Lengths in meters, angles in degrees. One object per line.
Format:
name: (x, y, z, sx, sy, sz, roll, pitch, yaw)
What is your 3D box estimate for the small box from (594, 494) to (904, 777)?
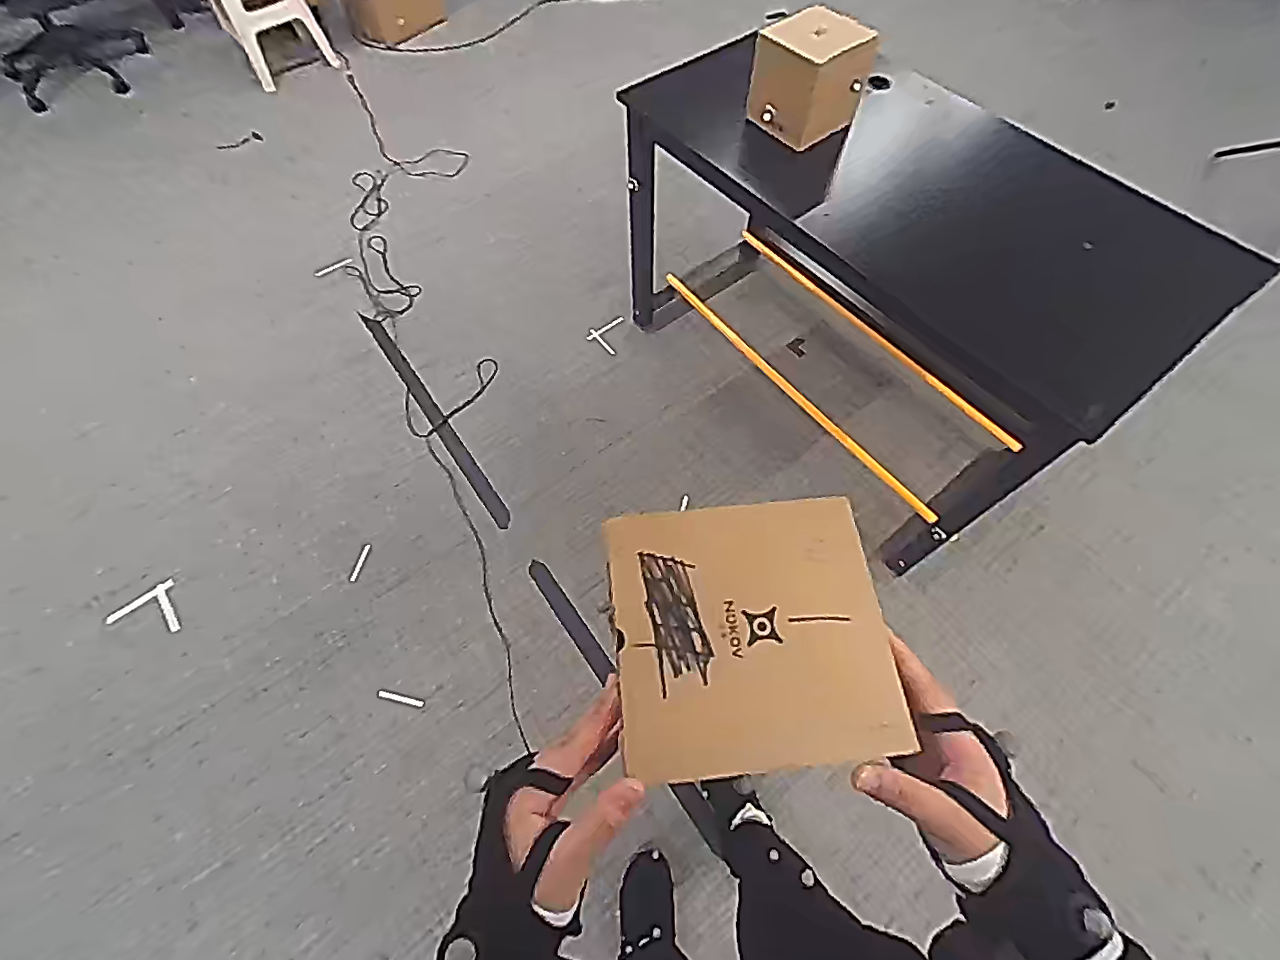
small box: (0.062, 0.125, 0.421, 0.179, 0.176, 0.168, -6, 66, -4)

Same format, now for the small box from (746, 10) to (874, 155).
small box: (0.343, -0.827, 1.131, 0.179, 0.176, 0.168, -37, 67, -16)
